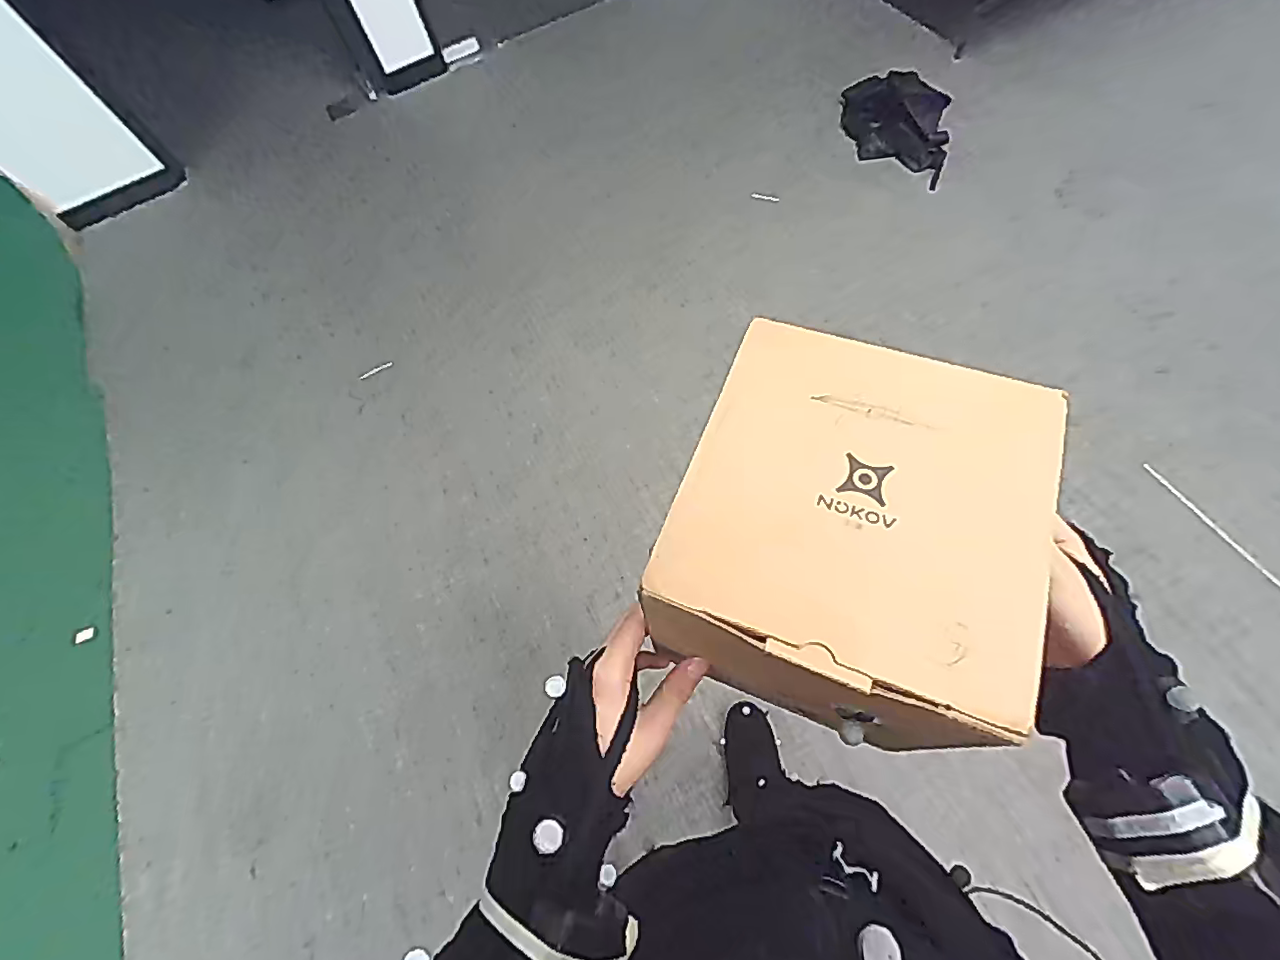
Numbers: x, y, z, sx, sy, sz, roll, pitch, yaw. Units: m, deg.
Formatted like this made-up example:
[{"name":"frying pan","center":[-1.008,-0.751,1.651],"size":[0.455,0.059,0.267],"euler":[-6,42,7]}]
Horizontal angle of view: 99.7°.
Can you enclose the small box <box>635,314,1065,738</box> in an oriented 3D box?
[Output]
[{"name":"small box","center":[0.111,0.038,0.327],"size":[0.168,0.176,0.179],"euler":[19,65,14]}]
